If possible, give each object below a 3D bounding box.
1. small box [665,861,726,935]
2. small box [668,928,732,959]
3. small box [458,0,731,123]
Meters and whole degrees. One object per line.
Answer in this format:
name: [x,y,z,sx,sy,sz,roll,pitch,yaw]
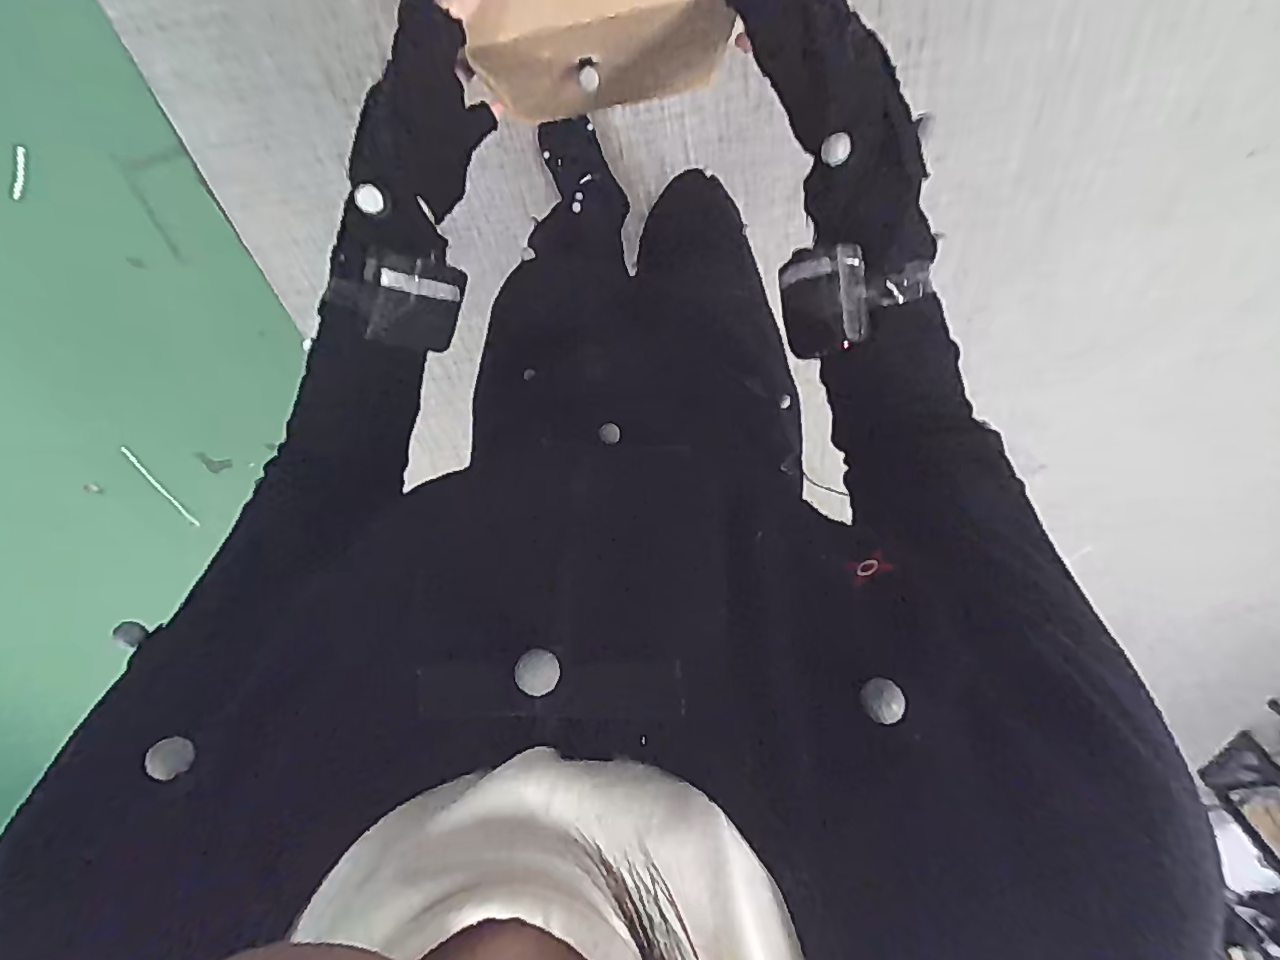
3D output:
small box: [0.178,1.357,1.751,0.168,0.176,0.179,-9,131,4]
small box: [0.182,1.457,1.603,0.179,0.176,0.168,-13,130,9]
small box: [-0.033,-0.381,0.375,0.179,0.176,0.168,-12,107,5]
